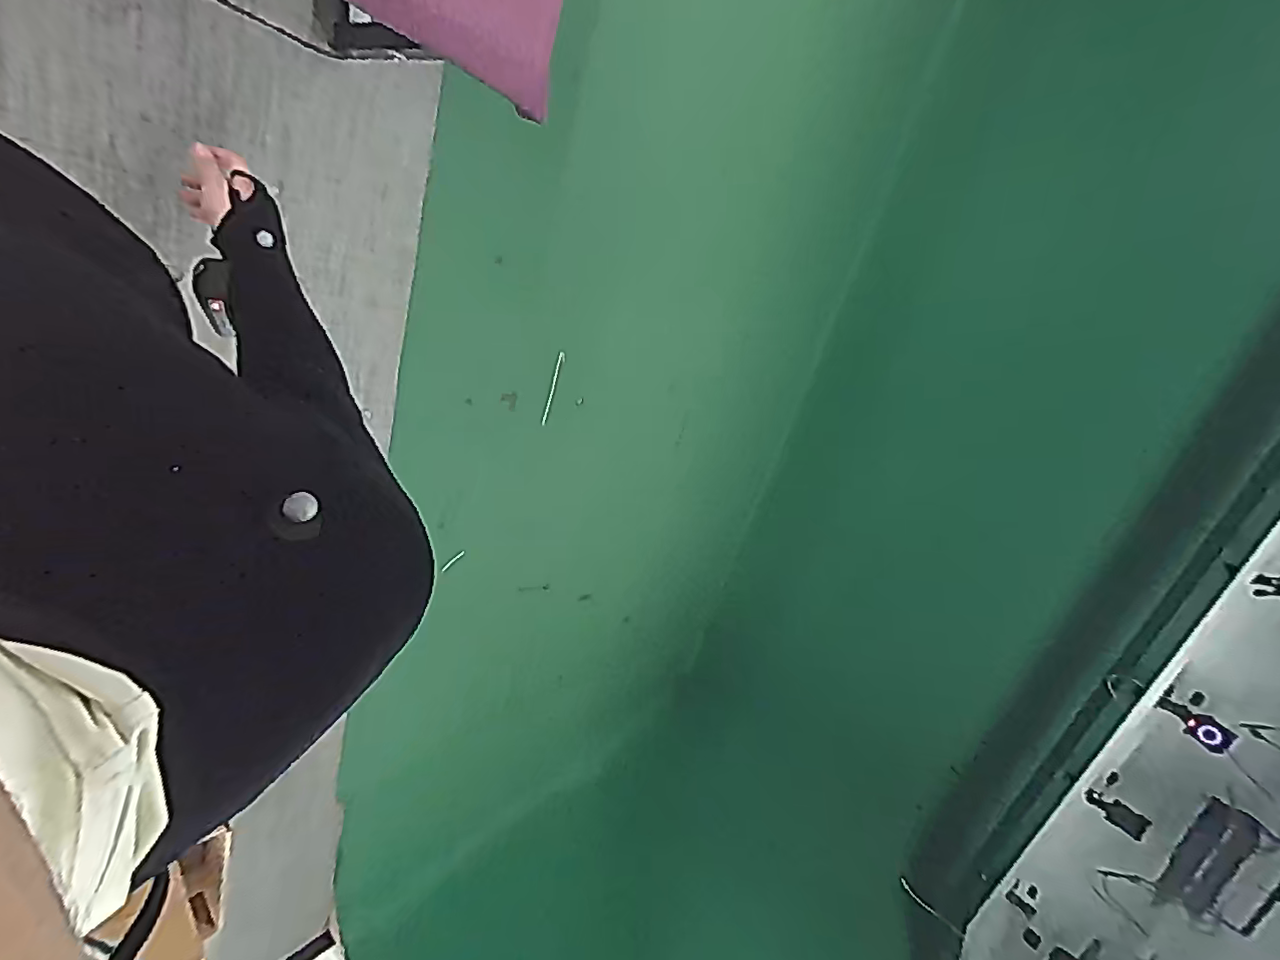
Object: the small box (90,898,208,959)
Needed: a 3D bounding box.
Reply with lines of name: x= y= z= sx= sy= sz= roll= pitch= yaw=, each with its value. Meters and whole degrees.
small box: x=-1.079 y=1.085 z=1.188 sx=0.168 sy=0.176 sz=0.179 roll=-7 pitch=121 yaw=-52
